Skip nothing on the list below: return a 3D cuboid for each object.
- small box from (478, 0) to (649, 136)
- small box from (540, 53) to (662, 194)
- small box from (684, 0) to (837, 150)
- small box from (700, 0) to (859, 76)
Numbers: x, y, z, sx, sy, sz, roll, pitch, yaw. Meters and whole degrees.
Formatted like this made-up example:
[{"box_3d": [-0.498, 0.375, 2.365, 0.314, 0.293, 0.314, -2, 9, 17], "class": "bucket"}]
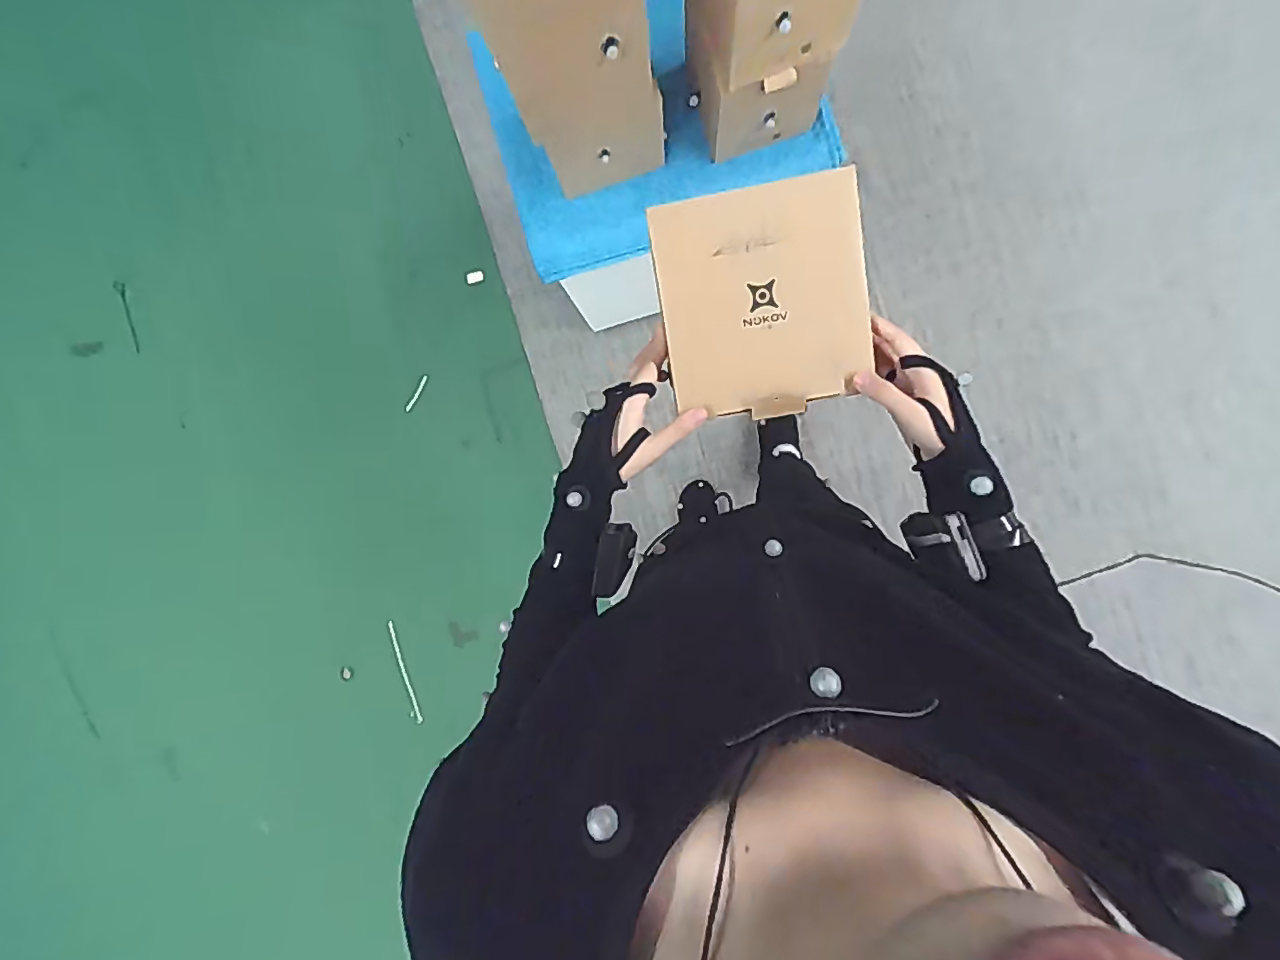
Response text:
[{"box_3d": [-0.092, -0.562, 0.649, 0.179, 0.176, 0.168, -17, 90, 5], "class": "small box"}, {"box_3d": [-0.071, -0.570, 0.812, 0.179, 0.176, 0.168, -17, 90, 5], "class": "small box"}, {"box_3d": [0.167, -0.622, 0.793, 0.168, 0.176, 0.179, -16, 91, 5], "class": "small box"}, {"box_3d": [0.161, -0.621, 0.630, 0.168, 0.176, 0.179, -19, 89, 5], "class": "small box"}]
